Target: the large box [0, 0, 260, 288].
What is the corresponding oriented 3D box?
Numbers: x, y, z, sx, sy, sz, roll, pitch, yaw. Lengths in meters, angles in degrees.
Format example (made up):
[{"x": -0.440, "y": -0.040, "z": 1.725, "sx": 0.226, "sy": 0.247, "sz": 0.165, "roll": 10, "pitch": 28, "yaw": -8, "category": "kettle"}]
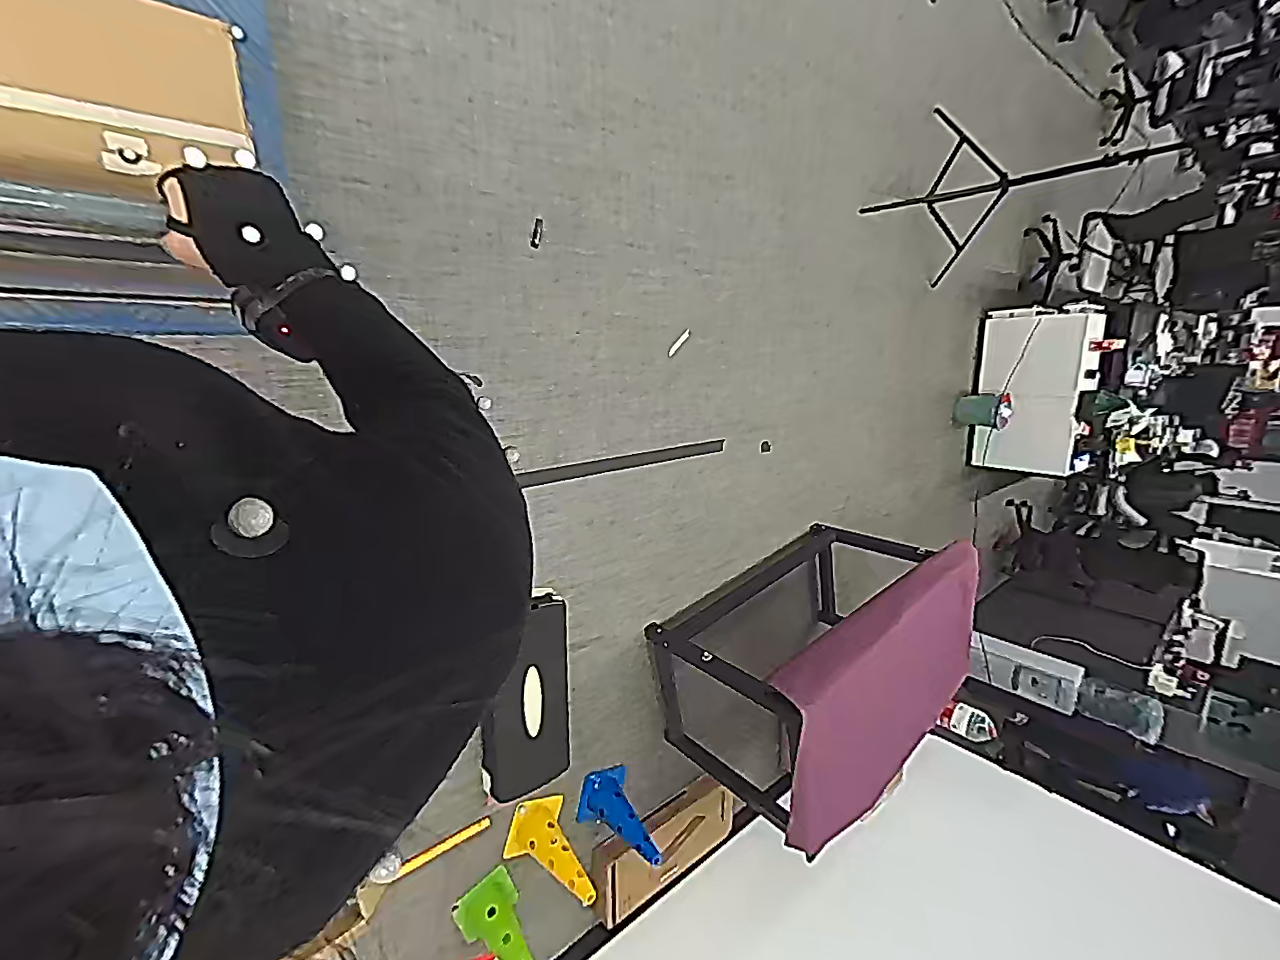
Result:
[{"x": -0.827, "y": -0.470, "z": 0.779, "sx": 0.408, "sy": 0.320, "sz": 0.320, "roll": -10, "pitch": 104, "yaw": -39, "category": "large box"}]
